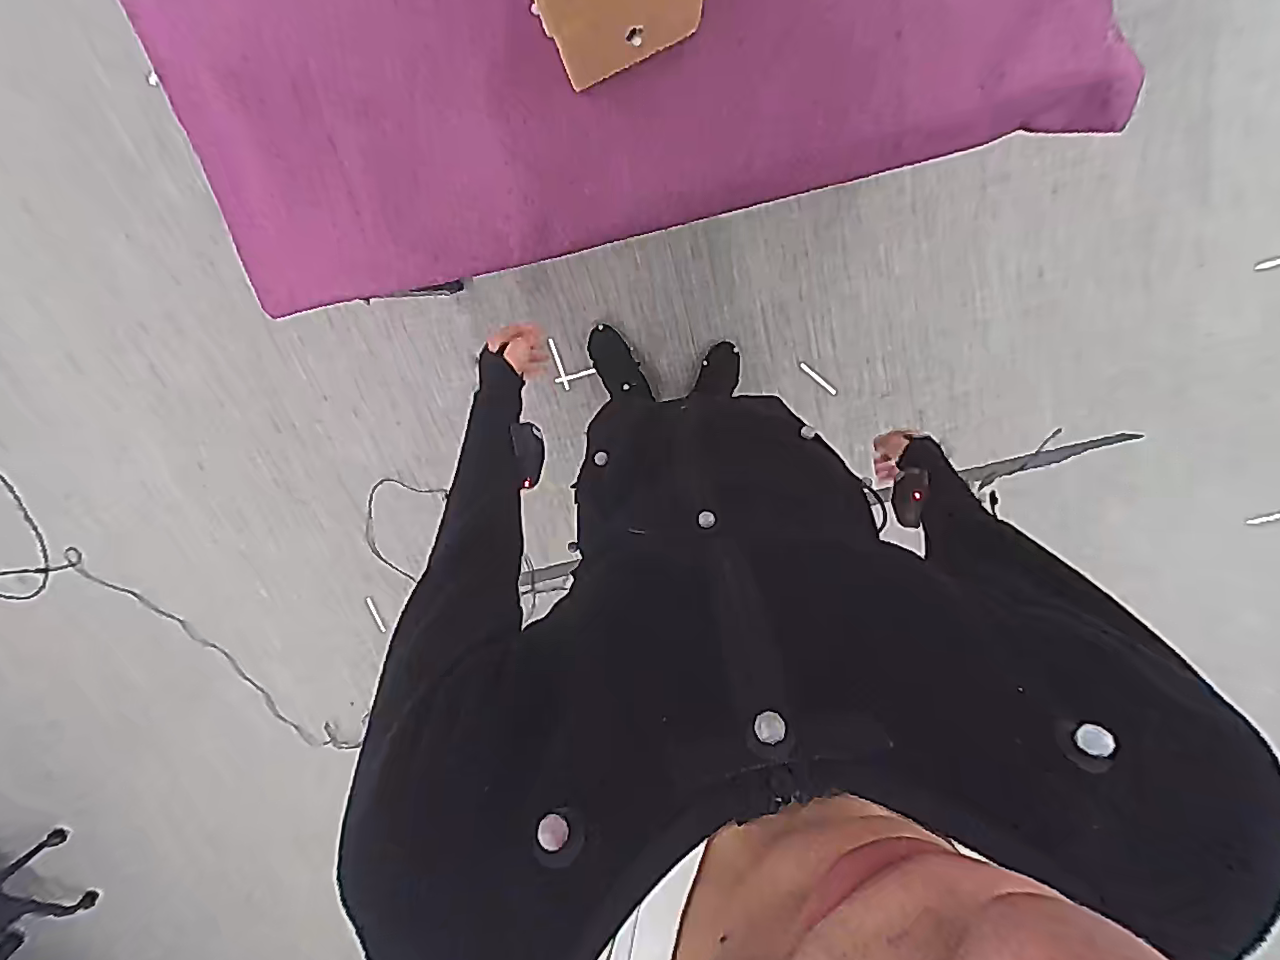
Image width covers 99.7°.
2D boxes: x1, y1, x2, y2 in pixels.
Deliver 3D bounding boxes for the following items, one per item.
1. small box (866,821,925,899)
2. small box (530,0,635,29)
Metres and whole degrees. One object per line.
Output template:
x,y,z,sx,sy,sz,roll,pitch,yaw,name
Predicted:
1.022,1.502,2.141,0.168,0.176,0.179,-21,108,6,small box
-0.044,-0.538,0.460,0.179,0.176,0.168,-17,108,6,small box
